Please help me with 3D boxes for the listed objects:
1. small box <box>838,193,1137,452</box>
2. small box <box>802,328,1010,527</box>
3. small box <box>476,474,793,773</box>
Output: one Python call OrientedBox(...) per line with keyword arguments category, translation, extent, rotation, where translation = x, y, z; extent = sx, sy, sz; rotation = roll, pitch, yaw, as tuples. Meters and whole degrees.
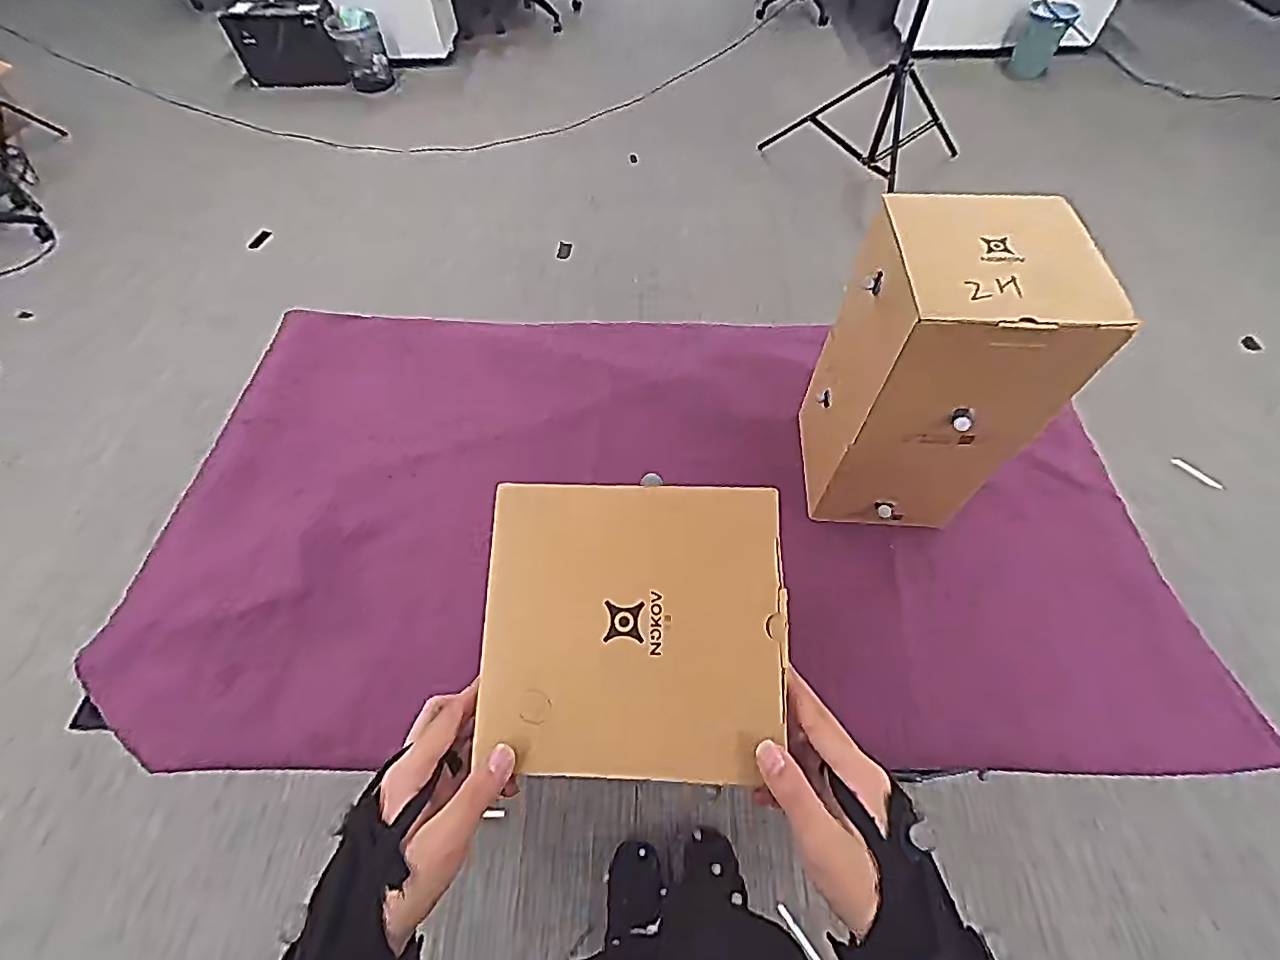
OrientedBox(category="small box", translation=(0.303, -0.149, 0.525), extent=(0.168, 0.176, 0.179), rotation=(2, 58, 4))
OrientedBox(category="small box", translation=(0.303, -0.061, 0.665), extent=(0.168, 0.176, 0.179), rotation=(3, 58, 4))
OrientedBox(category="small box", translation=(0.003, 0.098, 0.390), extent=(0.179, 0.176, 0.168), rotation=(1, 75, 3))
